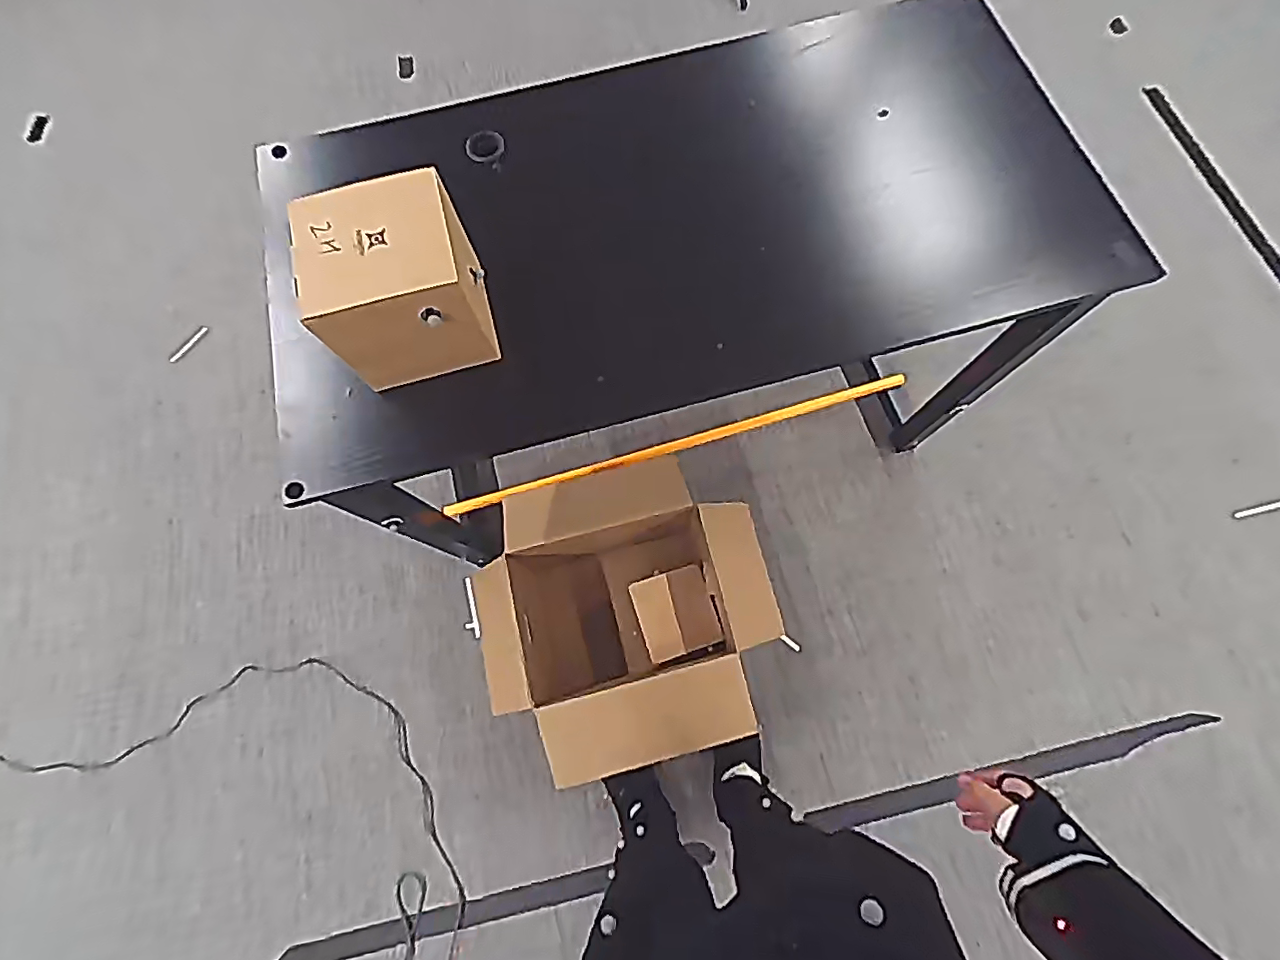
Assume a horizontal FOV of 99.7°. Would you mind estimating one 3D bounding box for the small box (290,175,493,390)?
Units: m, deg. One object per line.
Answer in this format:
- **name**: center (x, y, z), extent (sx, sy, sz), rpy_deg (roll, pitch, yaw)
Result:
- **small box**: center (-0.296, -0.236, 0.679), extent (0.179, 0.176, 0.168), rpy_deg (-15, 73, -3)
